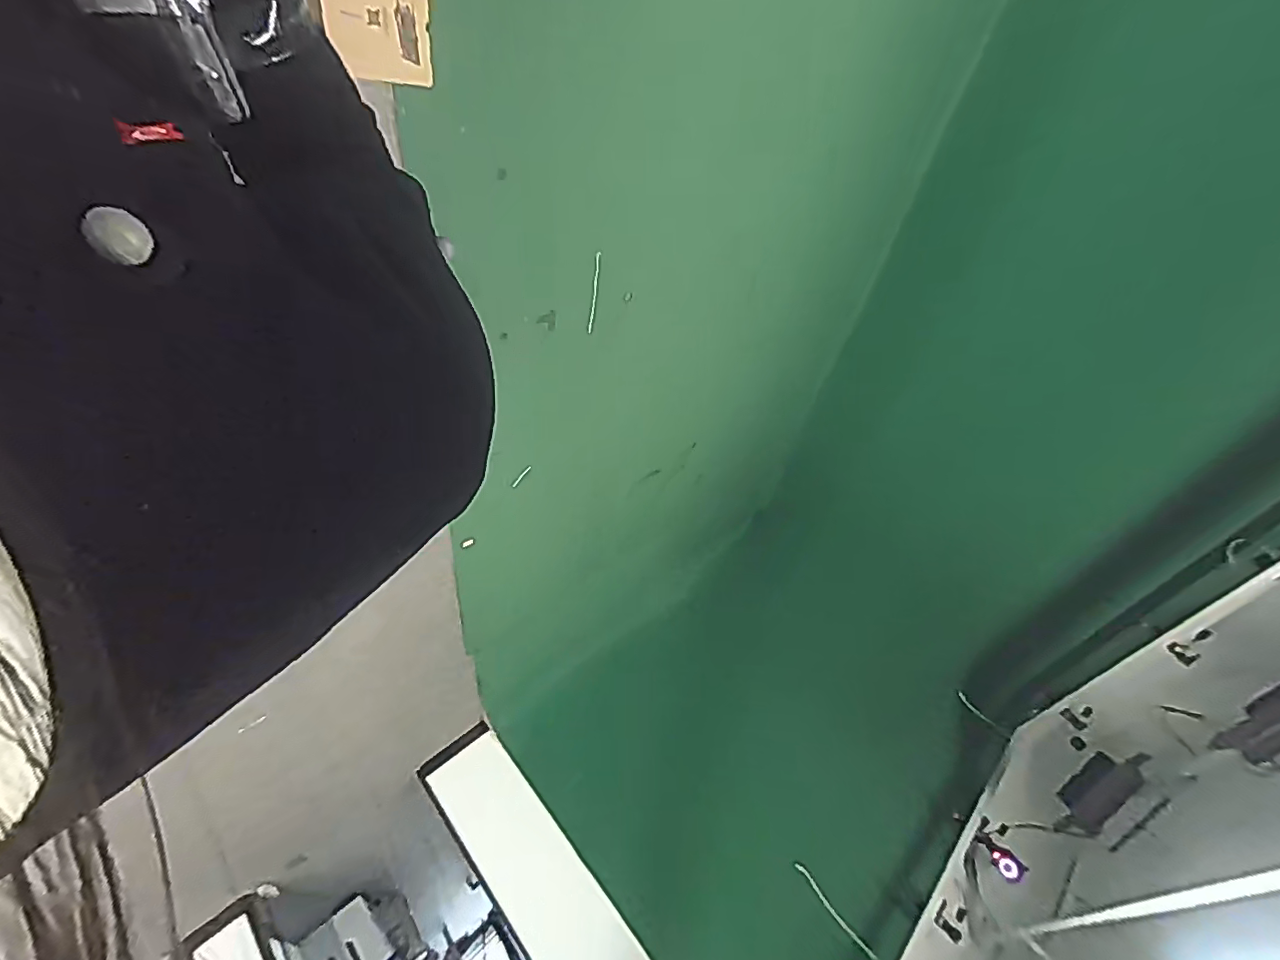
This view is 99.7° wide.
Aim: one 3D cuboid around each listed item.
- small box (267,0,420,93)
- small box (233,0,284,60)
[{"bbox_3d":[-0.489,-0.766,0.893,0.179,0.176,0.168,-25,143,-39],"label":"small box"},{"bbox_3d":[-0.605,-0.859,0.964,0.179,0.176,0.168,-27,144,-37],"label":"small box"}]
